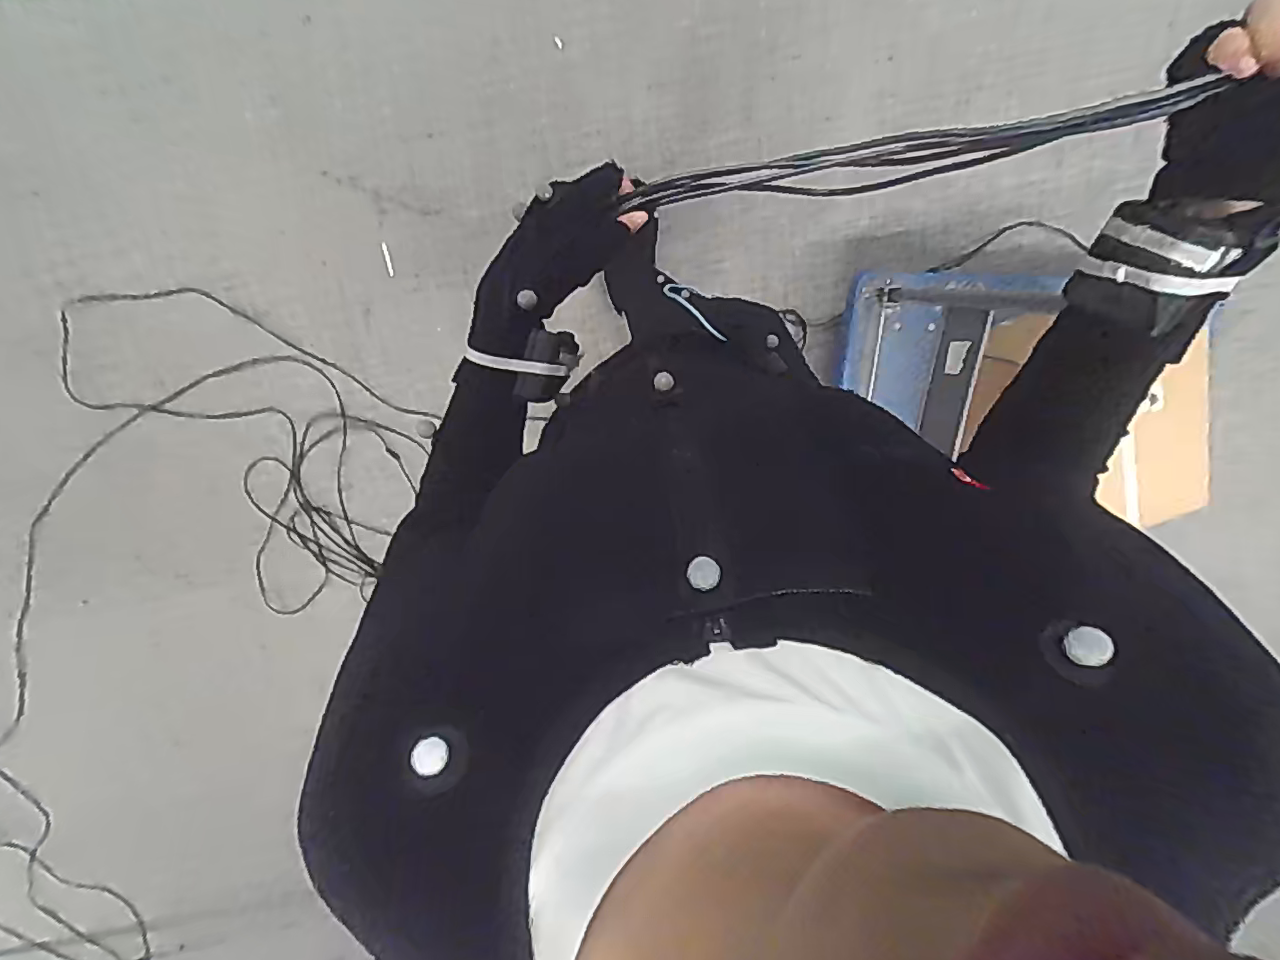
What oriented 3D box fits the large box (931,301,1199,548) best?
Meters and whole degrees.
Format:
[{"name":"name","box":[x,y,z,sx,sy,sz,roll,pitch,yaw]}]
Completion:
[{"name":"large box","box":[0.880,-0.133,1.154,0.320,0.320,0.408,-20,108,4]}]
